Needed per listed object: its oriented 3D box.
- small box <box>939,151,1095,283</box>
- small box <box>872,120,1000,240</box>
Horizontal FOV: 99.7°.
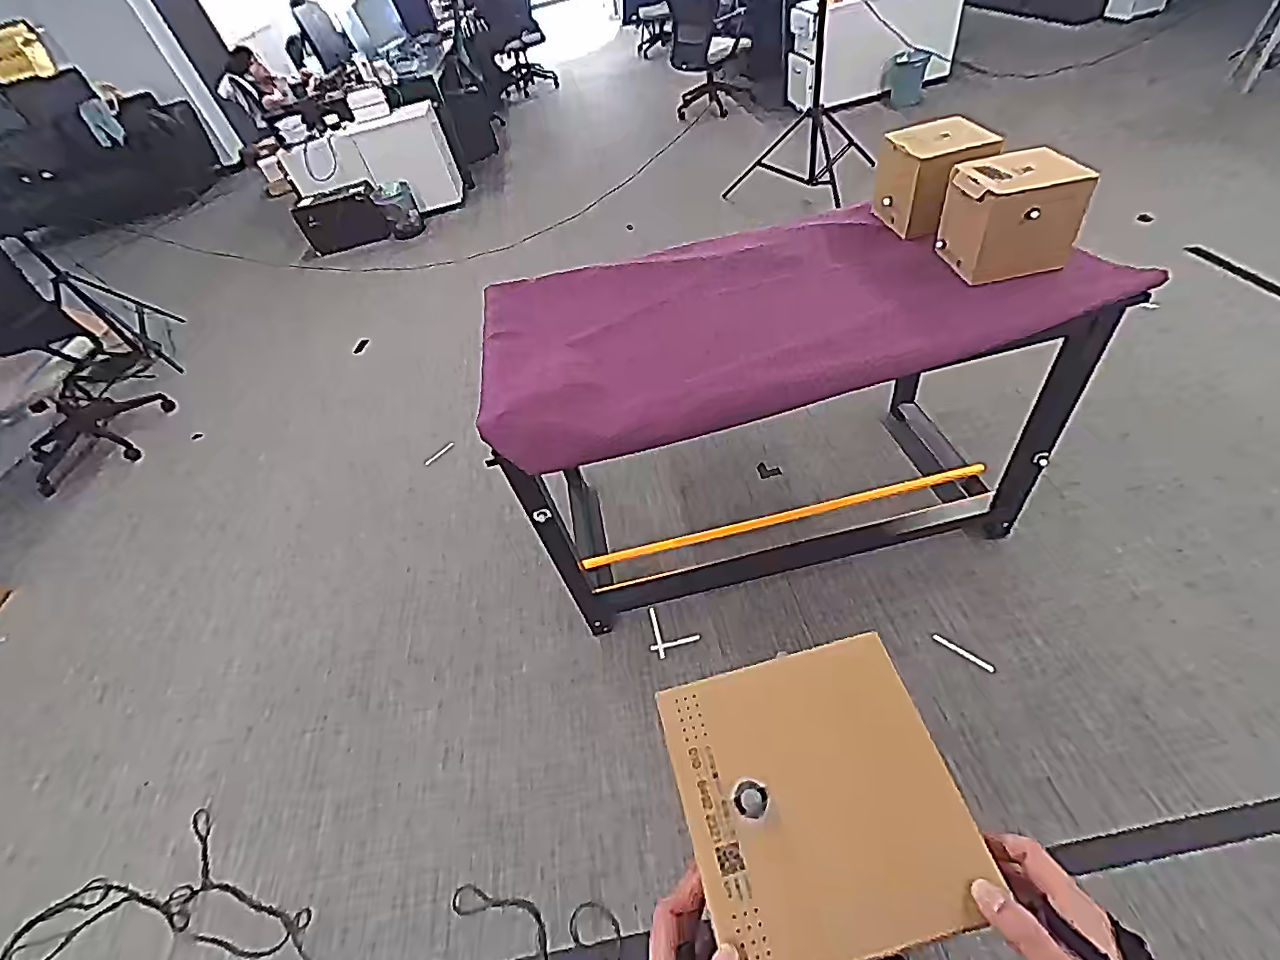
[{"bbox_3d":[0.700,-0.499,1.035,0.179,0.176,0.168,-10,46,5],"label":"small box"},{"bbox_3d":[0.641,-0.661,1.196,0.179,0.176,0.168,-14,48,1],"label":"small box"}]
